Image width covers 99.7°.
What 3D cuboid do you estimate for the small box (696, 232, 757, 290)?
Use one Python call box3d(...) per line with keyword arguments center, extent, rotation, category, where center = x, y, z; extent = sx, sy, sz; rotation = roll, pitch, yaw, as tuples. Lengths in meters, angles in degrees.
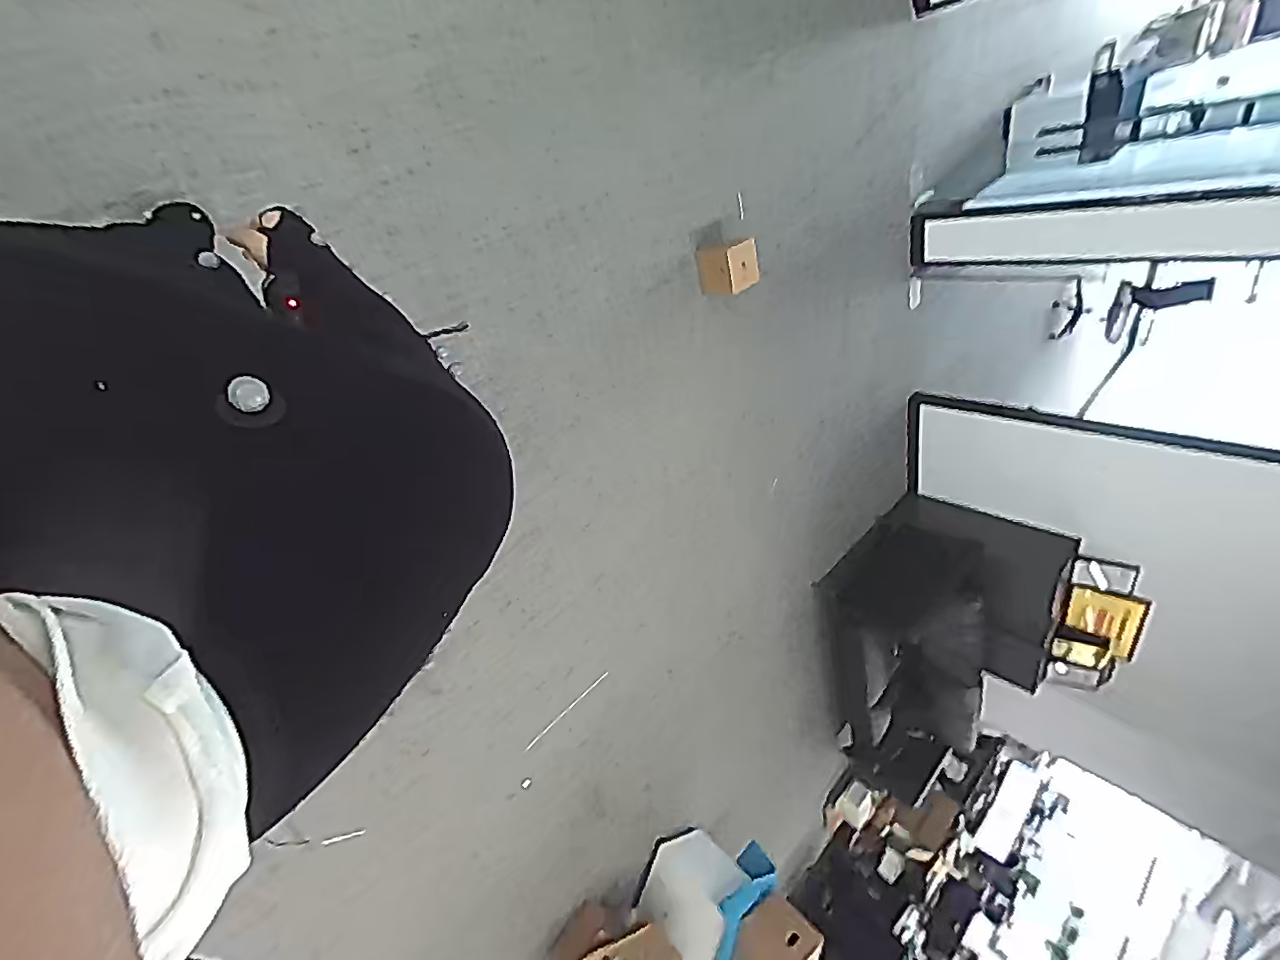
box3d(center=(0.343, -0.874, 2.163), extent=(0.168, 0.176, 0.179), rotation=(-35, 127, -27), category="small box")
